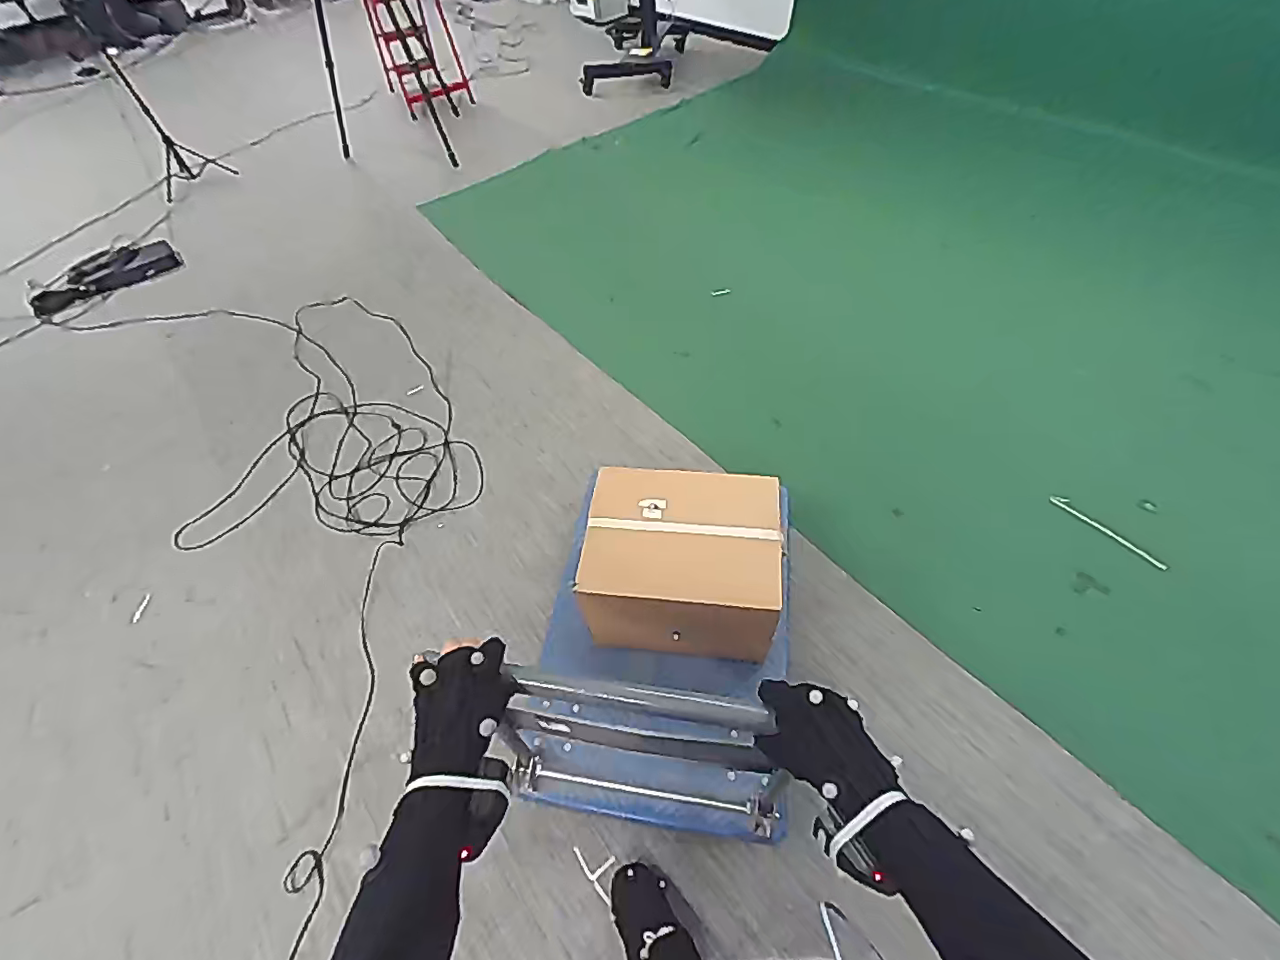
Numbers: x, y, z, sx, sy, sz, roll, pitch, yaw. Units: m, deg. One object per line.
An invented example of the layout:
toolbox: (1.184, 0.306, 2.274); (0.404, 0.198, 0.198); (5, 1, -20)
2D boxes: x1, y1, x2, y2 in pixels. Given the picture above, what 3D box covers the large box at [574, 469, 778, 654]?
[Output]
large box: (0.094, 0.192, 1.248); (0.408, 0.320, 0.320); (3, 54, 8)
